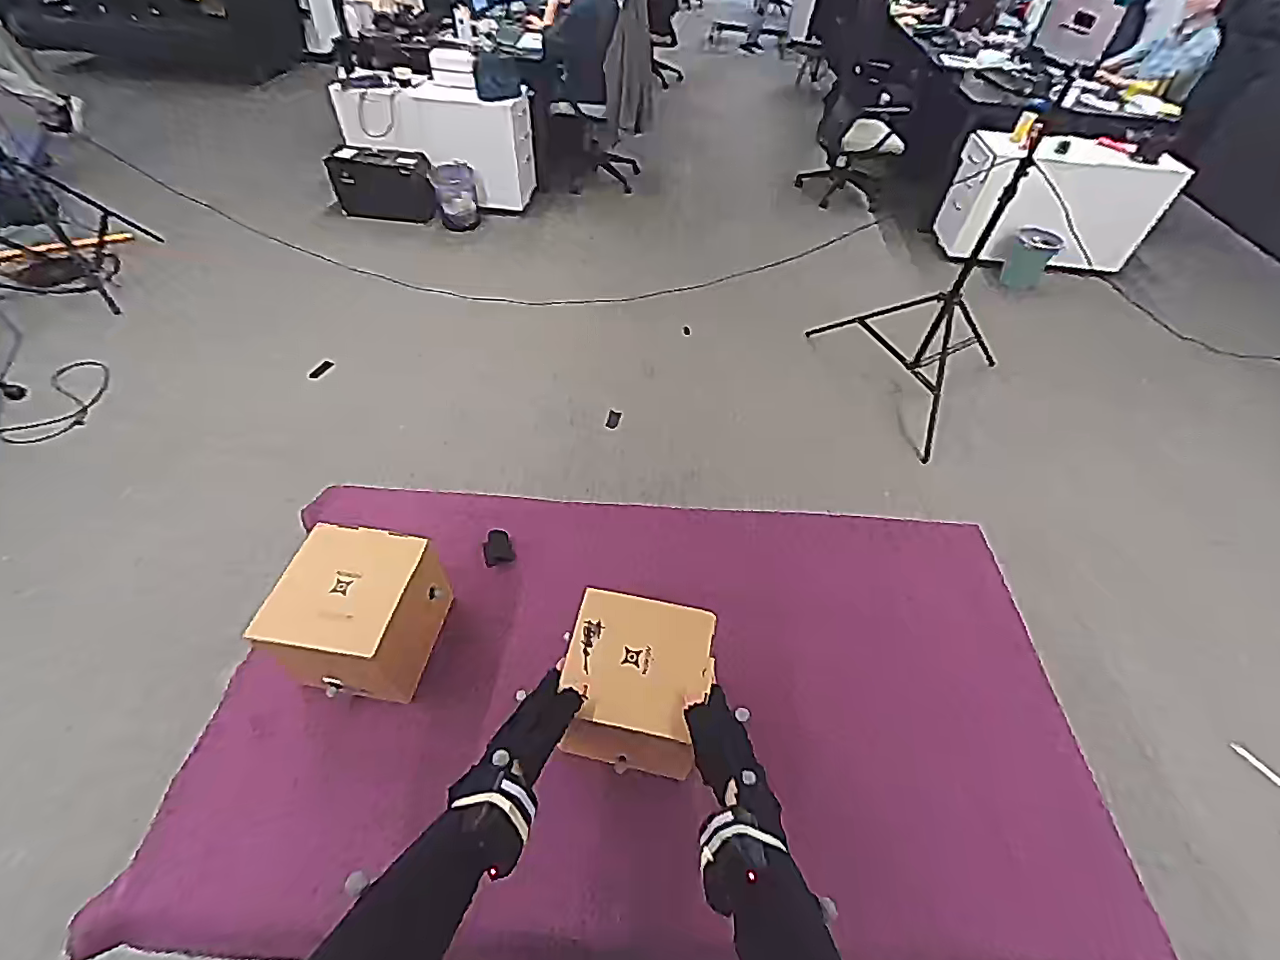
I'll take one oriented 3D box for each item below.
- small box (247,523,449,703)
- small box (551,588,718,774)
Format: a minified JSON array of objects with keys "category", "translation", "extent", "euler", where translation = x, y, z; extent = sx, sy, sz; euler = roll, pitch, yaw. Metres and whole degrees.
[{"category":"small box","translation":[-0.385,0.188,0.757],"extent":[0.168,0.176,0.179],"euler":[7,50,3]},{"category":"small box","translation":[-0.005,0.269,0.713],"extent":[0.179,0.176,0.168],"euler":[11,49,5]}]
